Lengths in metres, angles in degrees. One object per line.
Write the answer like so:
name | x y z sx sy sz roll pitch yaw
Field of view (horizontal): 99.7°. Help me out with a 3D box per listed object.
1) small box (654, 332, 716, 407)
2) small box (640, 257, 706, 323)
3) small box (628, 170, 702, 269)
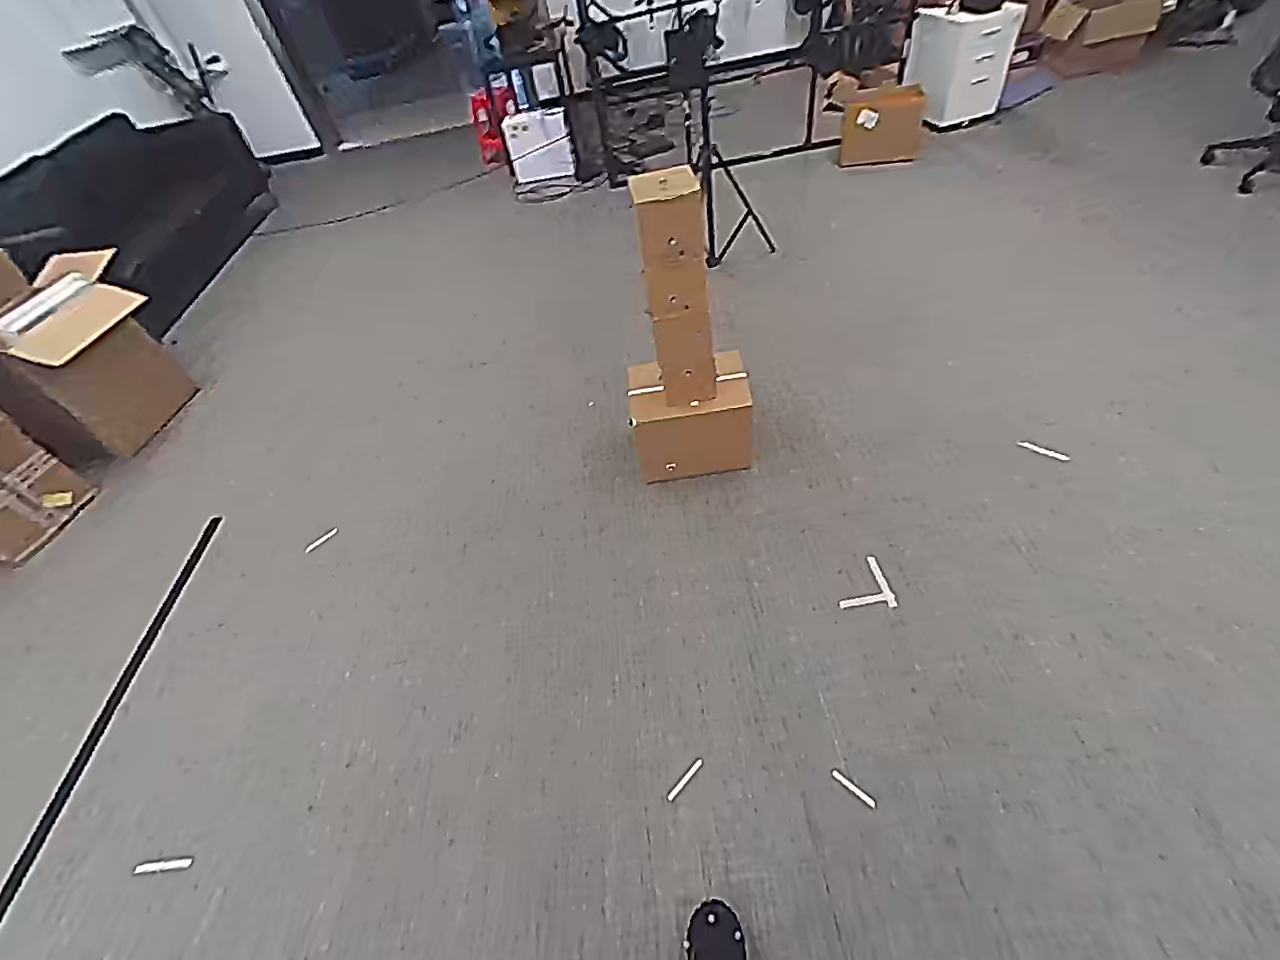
small box | 0.150 -0.360 1.790 0.179 0.176 0.168 -10 49 2
small box | 0.092 -0.578 1.554 0.168 0.176 0.179 -10 49 3
small box | 0.067 -0.687 1.433 0.168 0.176 0.179 -11 49 2
